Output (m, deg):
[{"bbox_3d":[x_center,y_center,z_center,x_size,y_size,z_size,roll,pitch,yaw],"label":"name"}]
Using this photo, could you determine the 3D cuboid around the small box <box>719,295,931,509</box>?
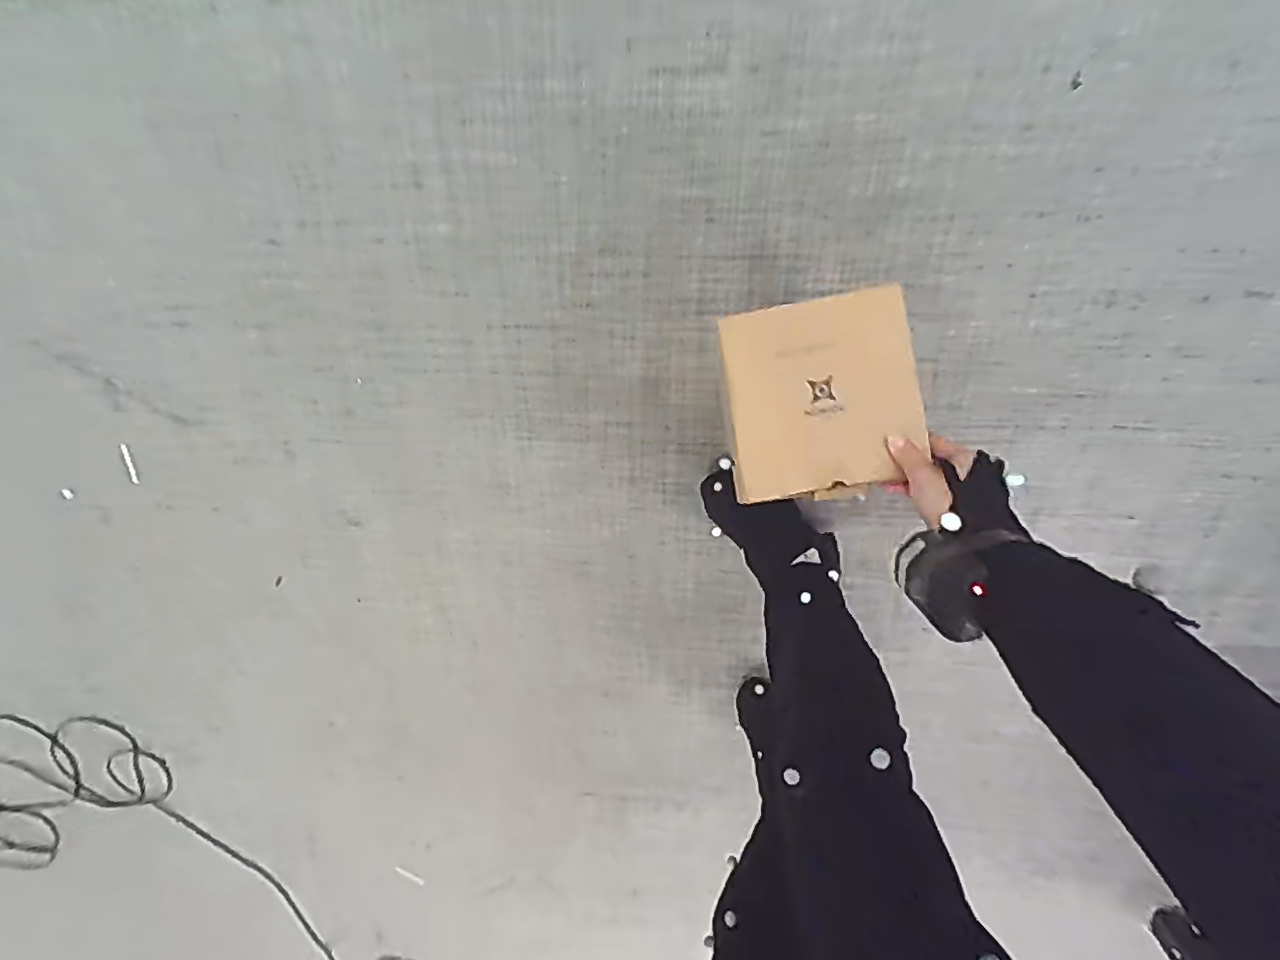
[{"bbox_3d":[0.176,-0.065,0.566,0.168,0.176,0.179,-8,85,7],"label":"small box"}]
